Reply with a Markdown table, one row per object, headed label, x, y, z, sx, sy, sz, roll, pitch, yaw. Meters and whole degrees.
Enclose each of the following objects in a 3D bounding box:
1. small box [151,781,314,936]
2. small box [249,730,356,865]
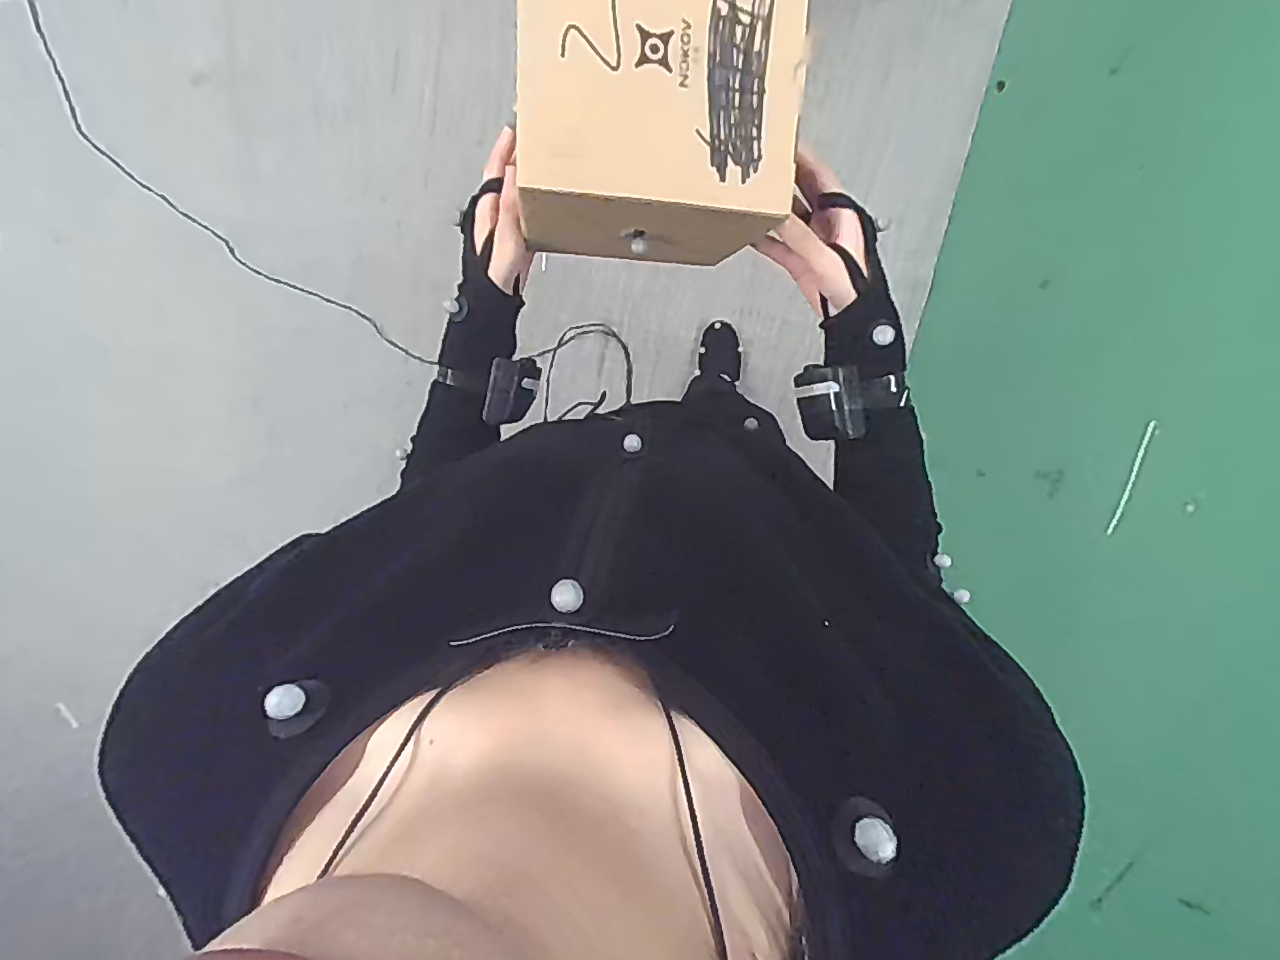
| label | x | y | z | sx | sy | sz | roll | pitch | yaw |
| --- | --- | --- | --- | --- | --- | --- | --- | --- | --- |
| small box | -0.825 | 0.762 | 1.111 | 0.179 | 0.176 | 0.168 | 32 | 101 | -3 |
| small box | -0.809 | 0.737 | 1.271 | 0.168 | 0.176 | 0.179 | 30 | 101 | -3 |
